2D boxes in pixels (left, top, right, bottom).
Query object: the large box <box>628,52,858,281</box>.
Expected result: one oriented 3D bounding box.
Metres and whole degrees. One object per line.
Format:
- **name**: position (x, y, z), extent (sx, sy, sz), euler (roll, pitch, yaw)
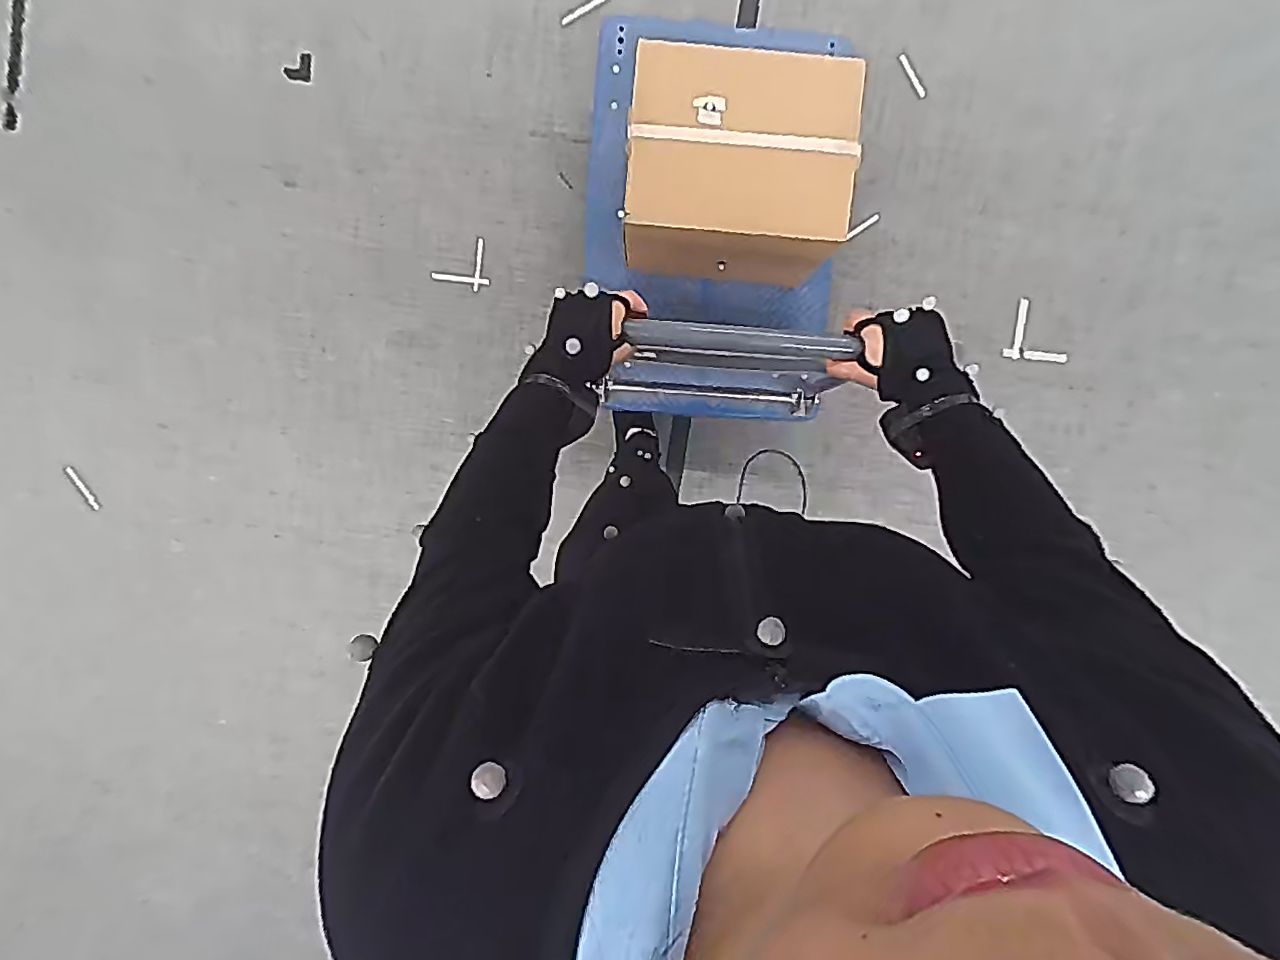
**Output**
- **large box**: position (0.189, -0.619, 1.128), extent (0.408, 0.320, 0.320), euler (4, 94, 1)
